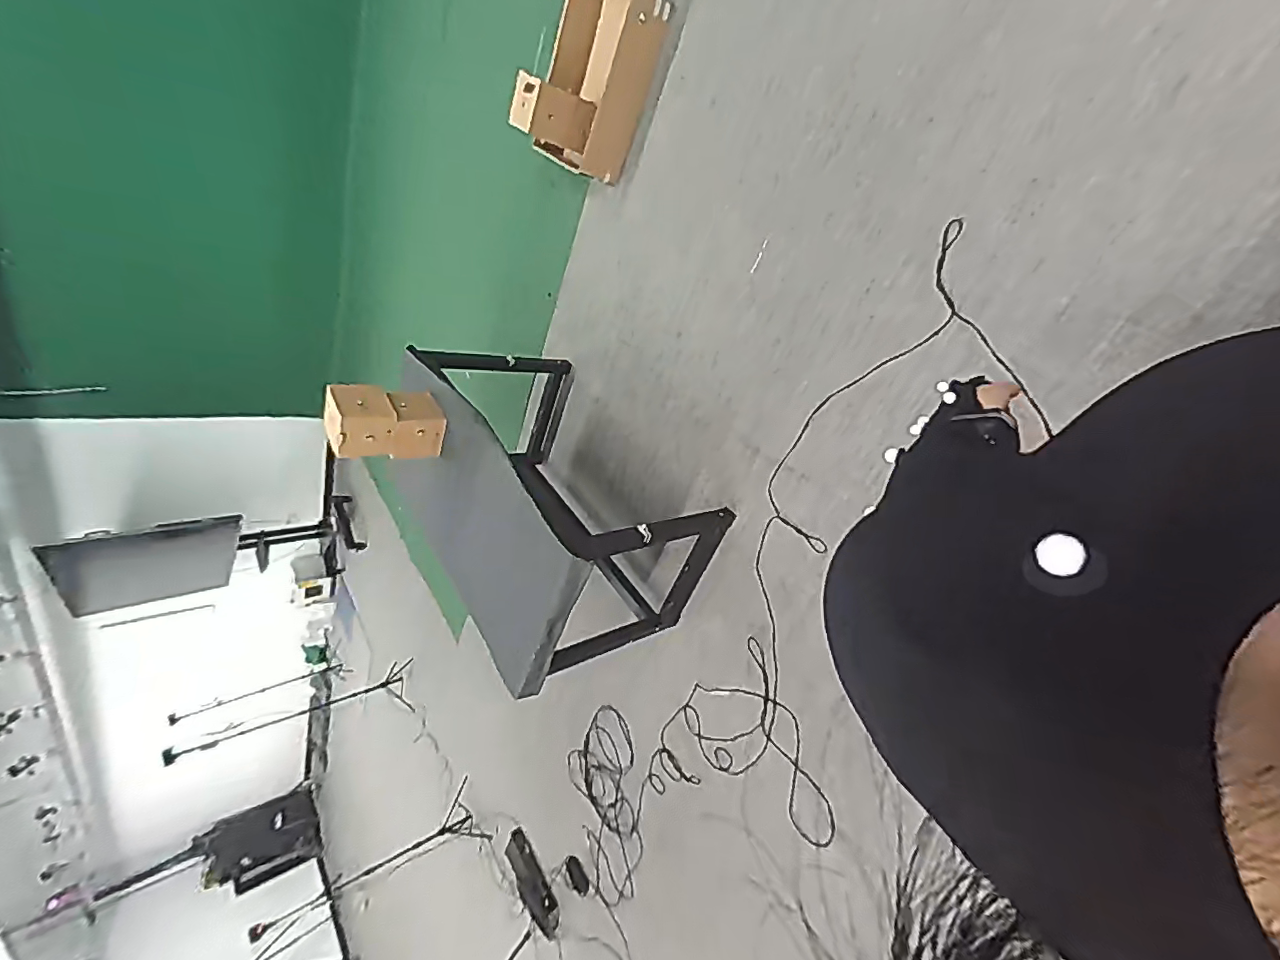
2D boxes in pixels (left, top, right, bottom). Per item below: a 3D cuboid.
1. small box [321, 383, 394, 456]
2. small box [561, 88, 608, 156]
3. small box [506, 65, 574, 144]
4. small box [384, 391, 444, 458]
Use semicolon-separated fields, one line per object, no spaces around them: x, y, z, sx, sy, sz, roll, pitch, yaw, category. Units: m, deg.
-0.920;-0.202;1.761;0.179;0.176;0.168;51;129;29;small box
-0.249;-1.402;2.112;0.168;0.176;0.179;45;125;32;small box
-0.365;-1.384;1.997;0.168;0.176;0.179;47;127;32;small box
-0.799;-0.198;1.874;0.179;0.176;0.168;49;128;32;small box
